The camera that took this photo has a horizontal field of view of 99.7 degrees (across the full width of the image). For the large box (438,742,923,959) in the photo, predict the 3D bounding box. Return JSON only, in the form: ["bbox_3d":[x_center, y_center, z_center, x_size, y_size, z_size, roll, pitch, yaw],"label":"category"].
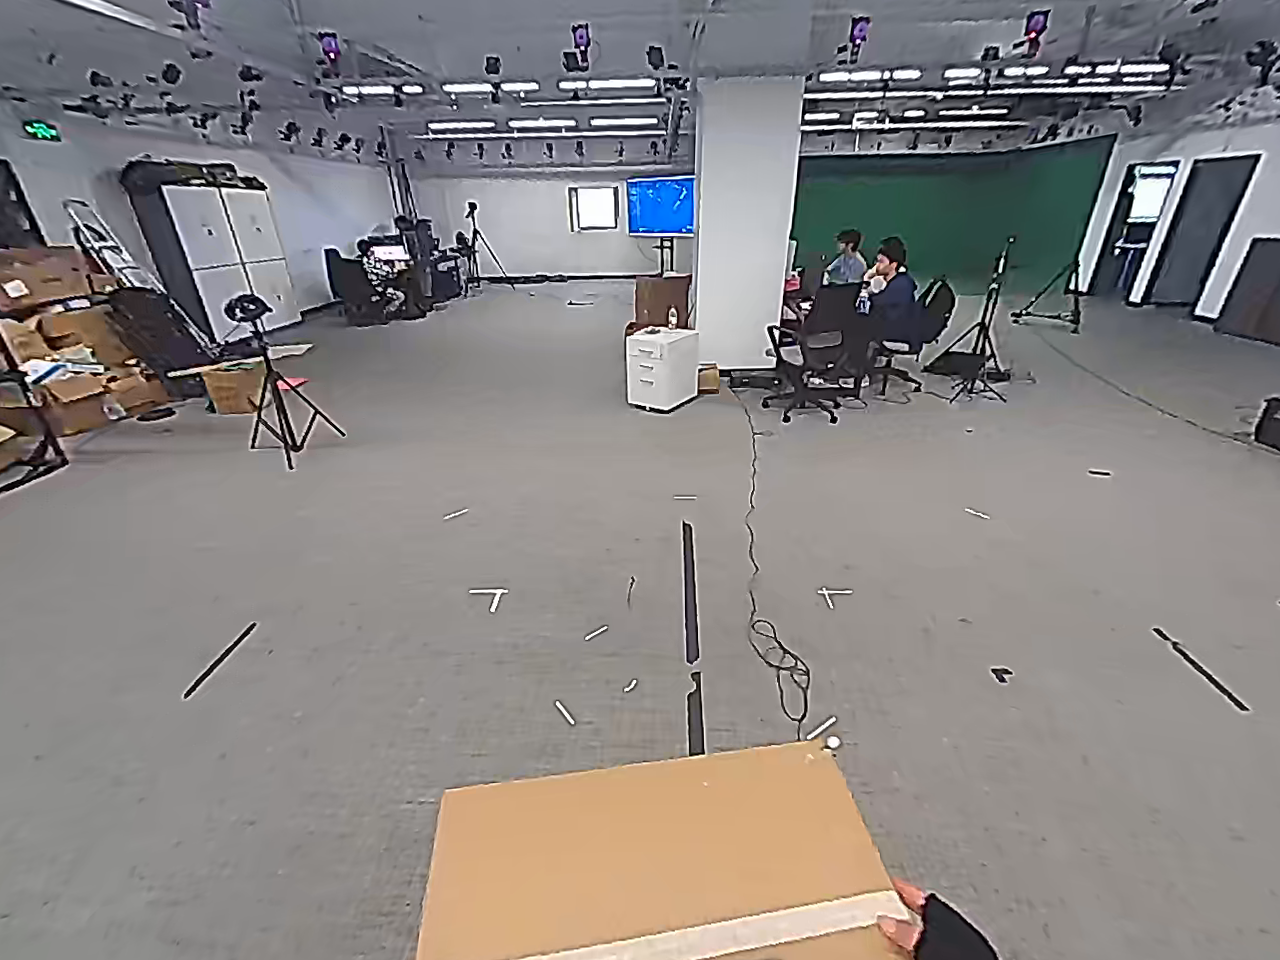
[{"bbox_3d":[0.029,0.512,0.532,0.408,0.320,0.320,-3,33,-6],"label":"large box"}]
